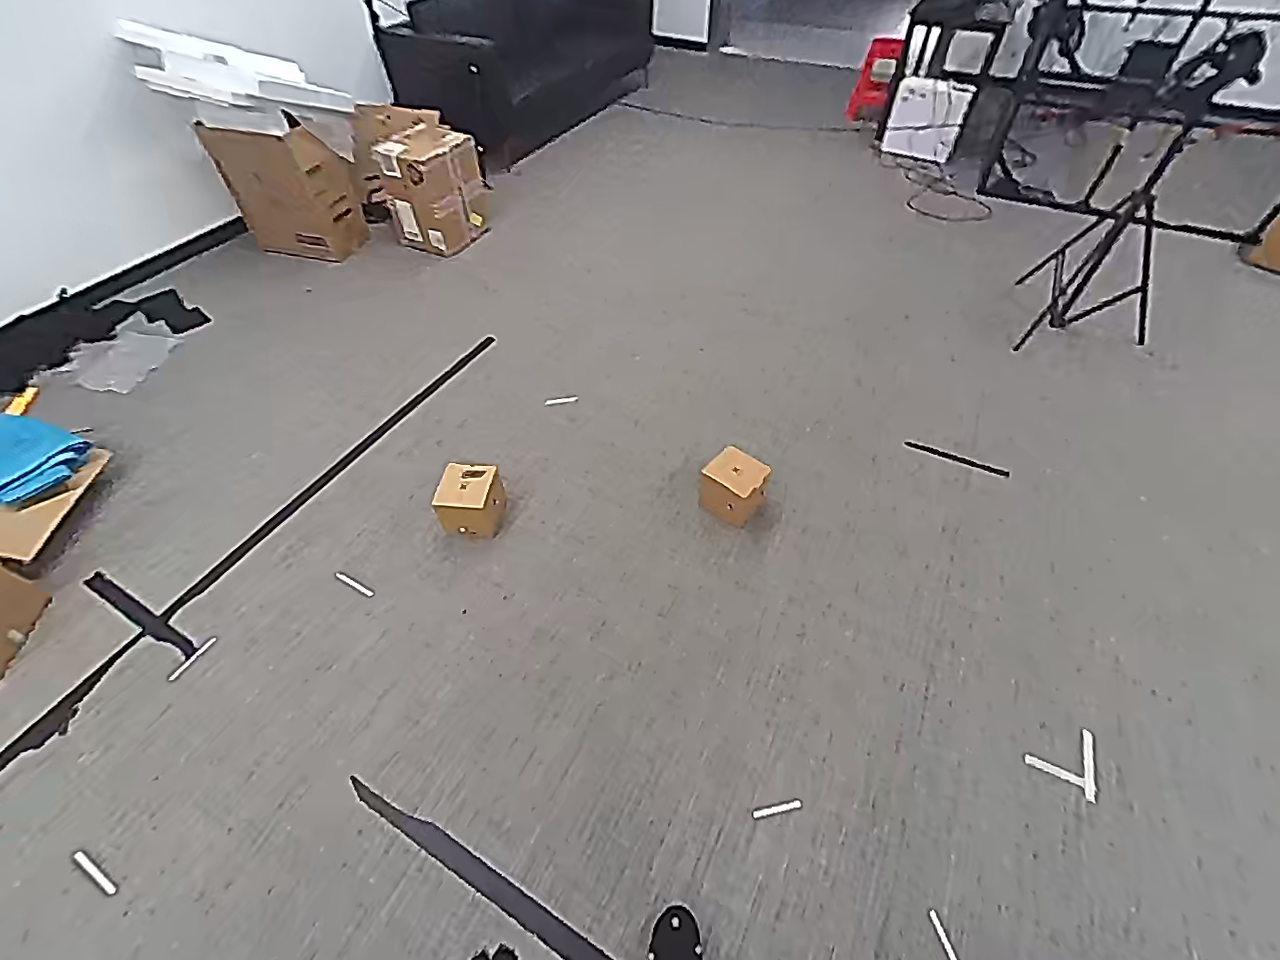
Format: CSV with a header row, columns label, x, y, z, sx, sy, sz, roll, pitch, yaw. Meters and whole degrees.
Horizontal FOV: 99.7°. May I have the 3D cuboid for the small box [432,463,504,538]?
label,x,y,z,sx,sy,sz,roll,pitch,yaw
small box,-0.557,0.068,1.783,0.168,0.176,0.179,4,51,4

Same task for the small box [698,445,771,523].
label,x,y,z,sx,sy,sz,roll,pitch,yaw
small box,0.314,0.021,1.822,0.179,0.176,0.168,33,56,26
